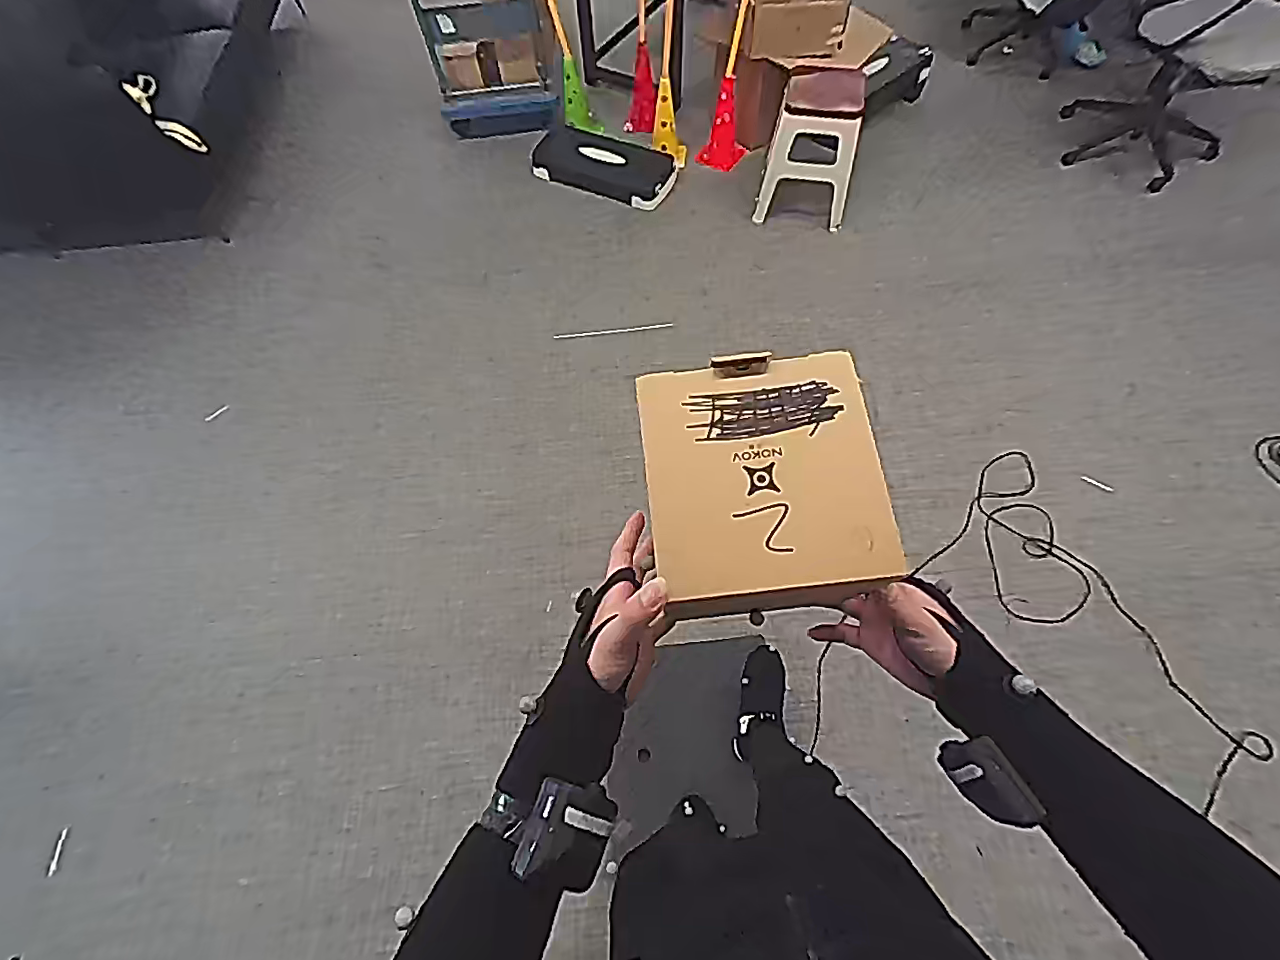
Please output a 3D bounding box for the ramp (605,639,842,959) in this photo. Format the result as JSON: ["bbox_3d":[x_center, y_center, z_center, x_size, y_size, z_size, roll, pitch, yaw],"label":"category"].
[{"bbox_3d":[0.176,0.892,1.304,0.509,0.206,0.991,-8,62,0],"label":"ramp"}]
